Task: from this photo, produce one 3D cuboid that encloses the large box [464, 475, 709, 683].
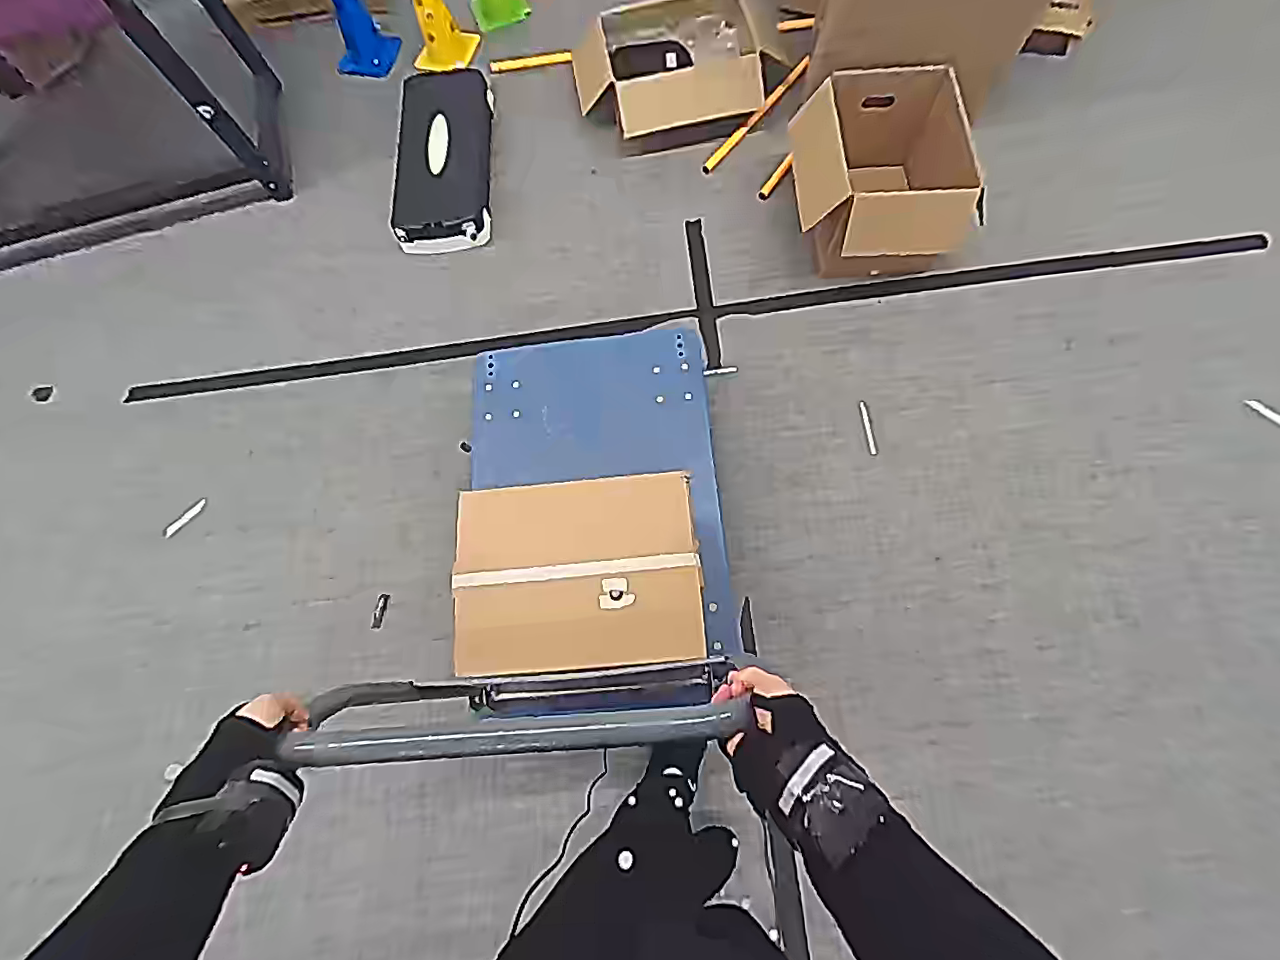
[{"bbox_3d":[-0.094,0.203,1.047,0.408,0.320,0.320,-6,73,2],"label":"large box"}]
